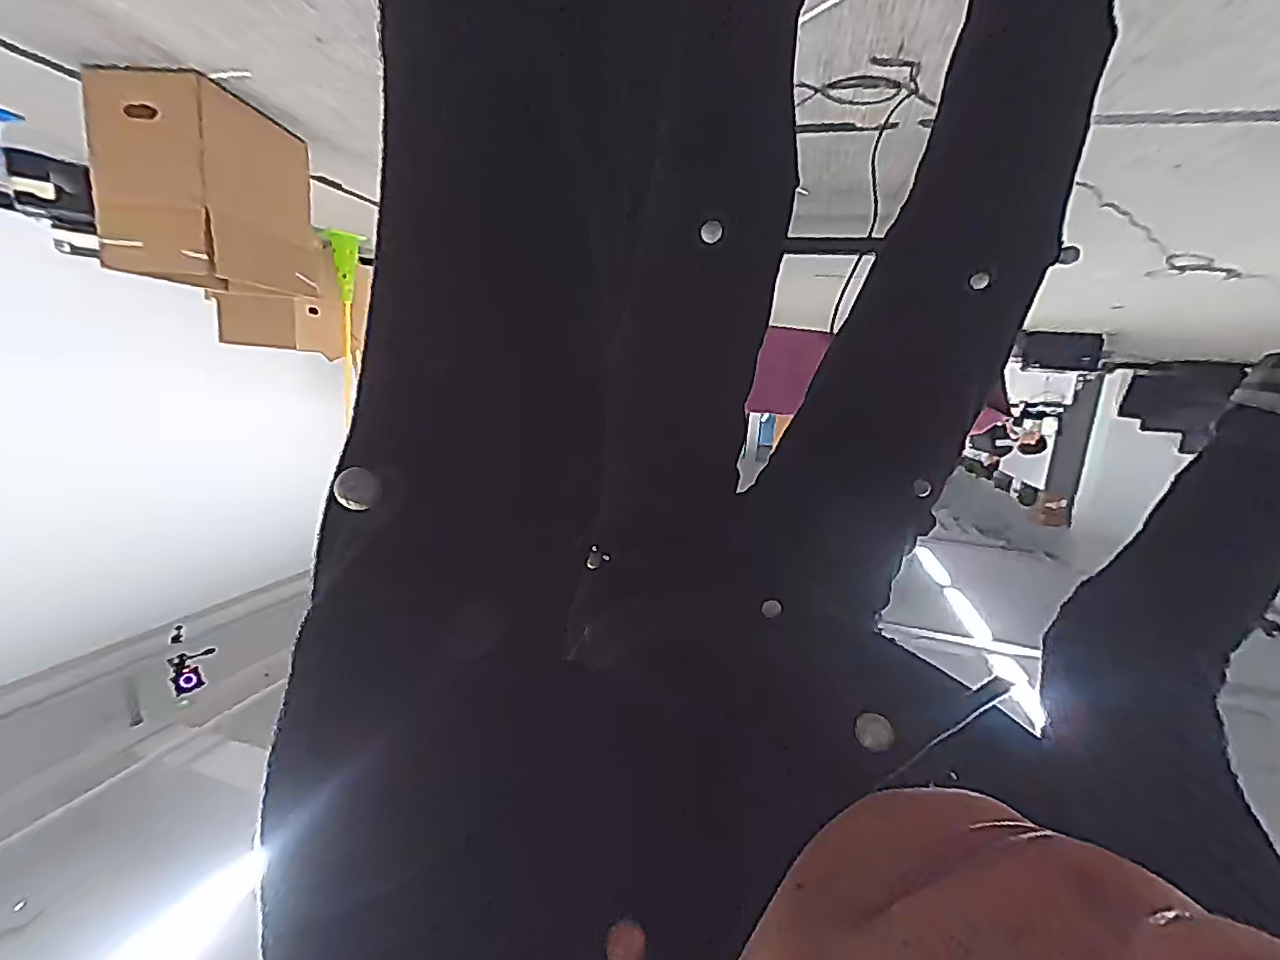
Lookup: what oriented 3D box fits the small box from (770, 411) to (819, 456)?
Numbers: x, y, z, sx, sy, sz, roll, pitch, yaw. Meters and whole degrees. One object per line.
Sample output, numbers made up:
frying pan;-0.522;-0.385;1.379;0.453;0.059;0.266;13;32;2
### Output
small box;0.646;-0.200;2.256;0.168;0.176;0.179;9;-167;23
